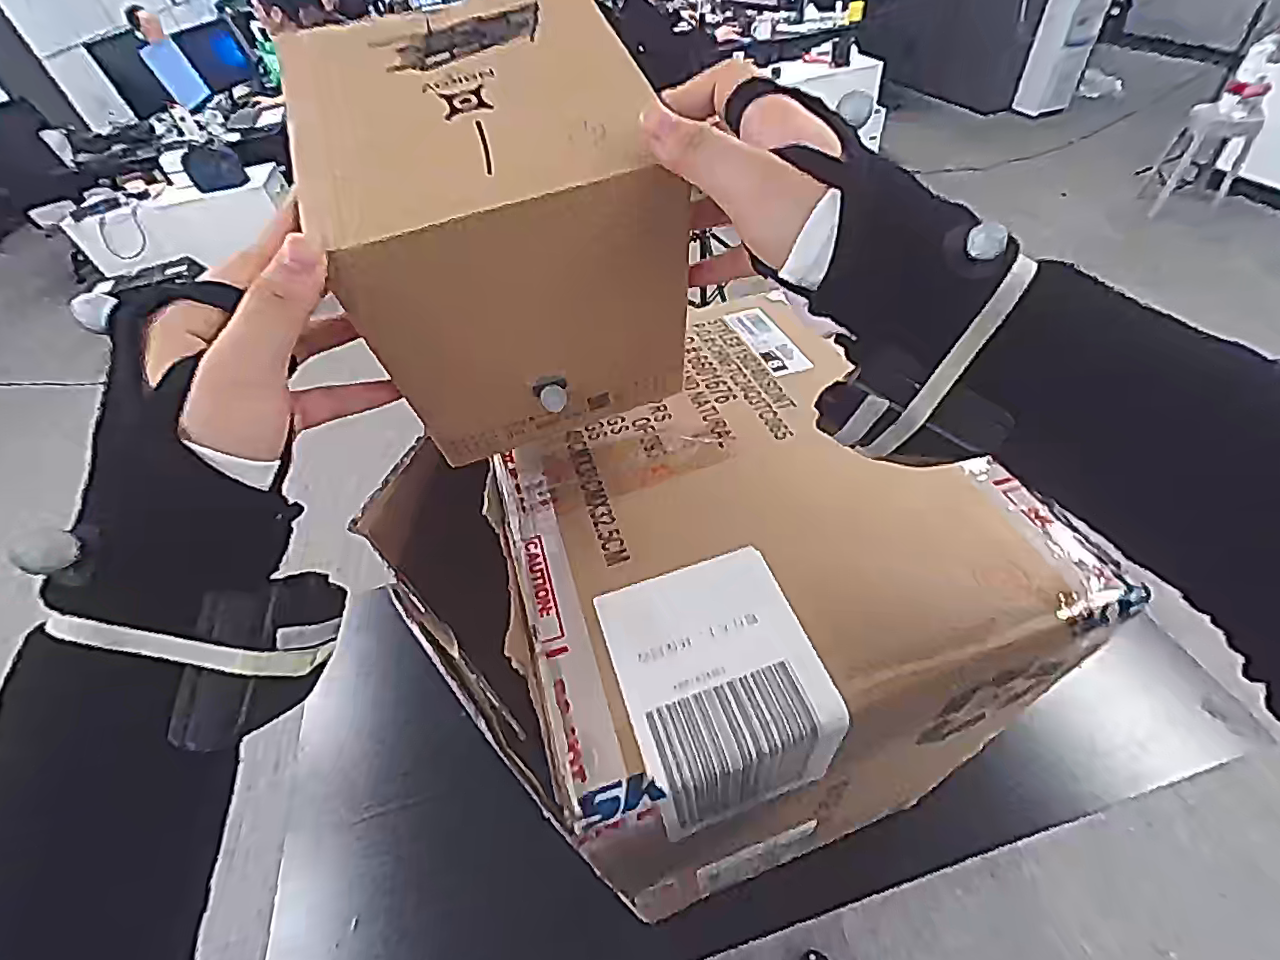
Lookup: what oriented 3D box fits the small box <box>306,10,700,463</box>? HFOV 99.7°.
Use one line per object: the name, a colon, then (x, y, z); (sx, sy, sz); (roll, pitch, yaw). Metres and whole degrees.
small box: (-0.075, -0.140, 0.335); (0.168, 0.176, 0.179); (-19, 62, -7)
